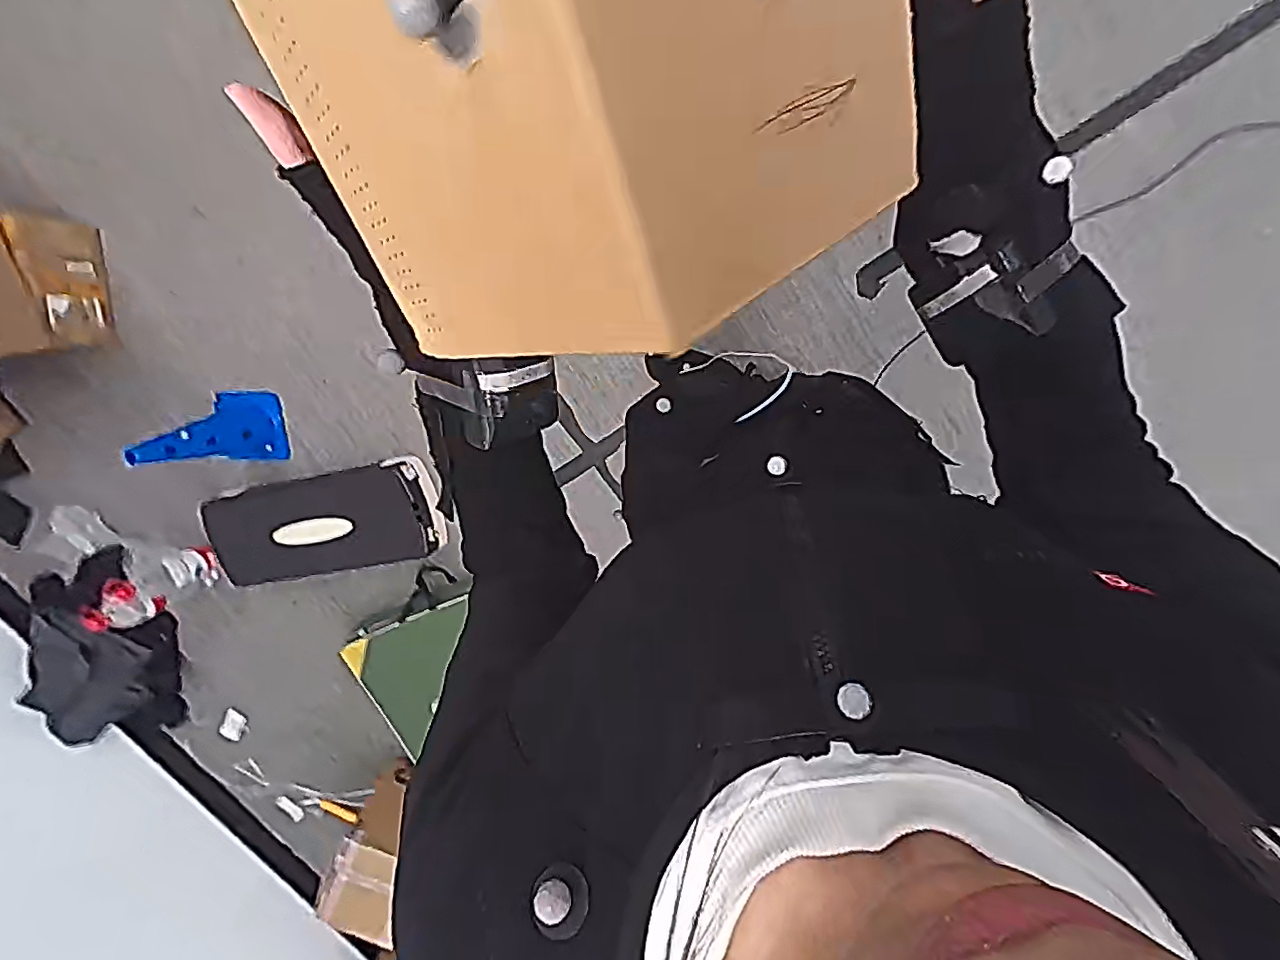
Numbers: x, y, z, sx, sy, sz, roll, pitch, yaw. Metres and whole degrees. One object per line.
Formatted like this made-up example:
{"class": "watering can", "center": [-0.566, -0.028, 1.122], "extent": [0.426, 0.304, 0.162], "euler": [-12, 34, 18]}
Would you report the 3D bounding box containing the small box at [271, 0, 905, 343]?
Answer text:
{"class": "small box", "center": [-0.016, -0.167, 0.215], "extent": [0.176, 0.168, 0.179], "euler": [12, 131, 44]}
